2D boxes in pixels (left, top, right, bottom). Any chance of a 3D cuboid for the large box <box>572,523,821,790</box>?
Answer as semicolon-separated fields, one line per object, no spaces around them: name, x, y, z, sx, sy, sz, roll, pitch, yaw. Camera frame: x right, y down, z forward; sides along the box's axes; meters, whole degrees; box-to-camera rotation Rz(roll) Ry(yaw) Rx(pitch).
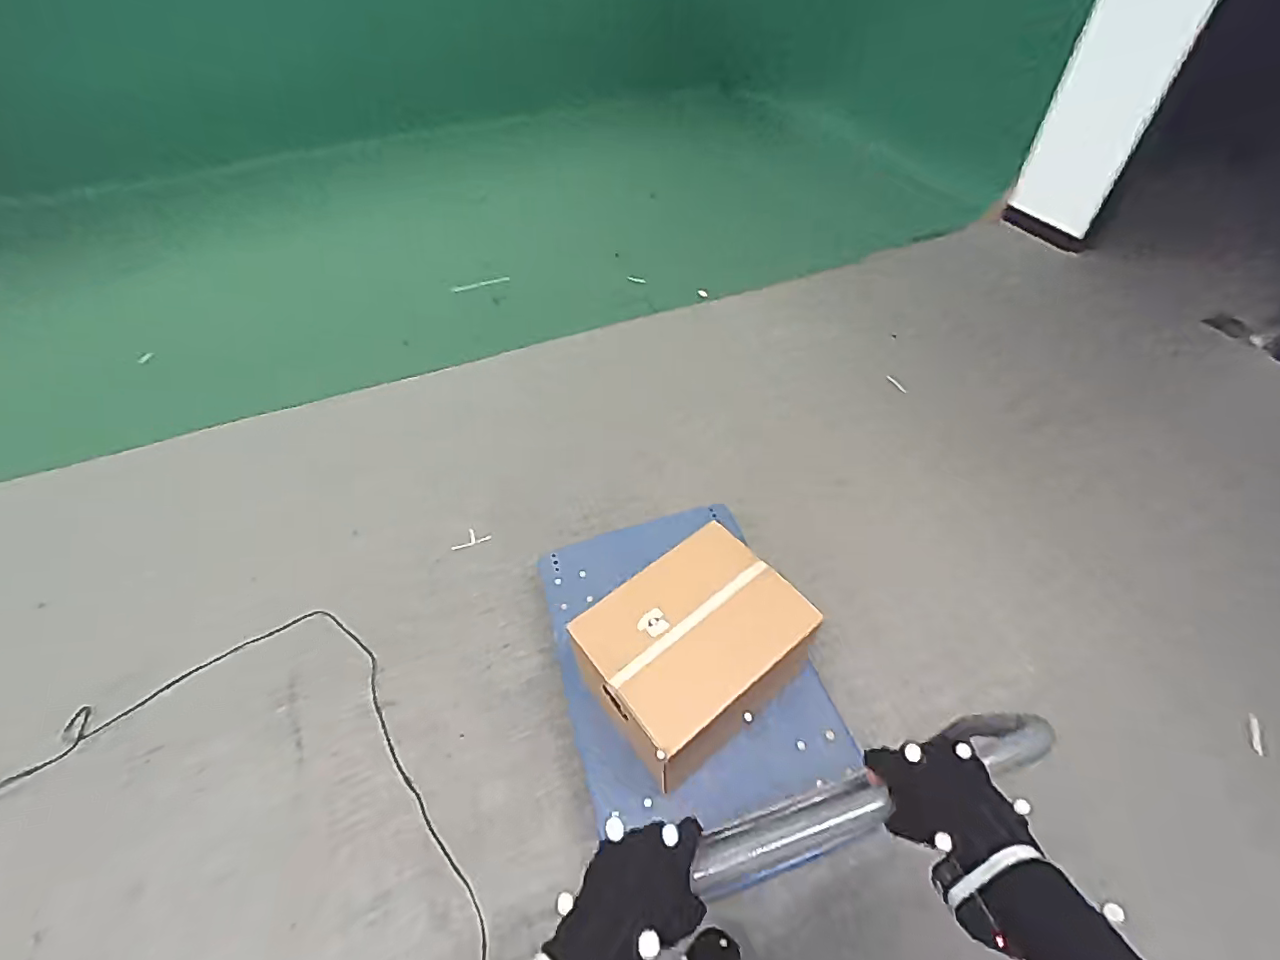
large box;0.117;0.376;1.170;0.408;0.320;0.320;-32;55;-21
